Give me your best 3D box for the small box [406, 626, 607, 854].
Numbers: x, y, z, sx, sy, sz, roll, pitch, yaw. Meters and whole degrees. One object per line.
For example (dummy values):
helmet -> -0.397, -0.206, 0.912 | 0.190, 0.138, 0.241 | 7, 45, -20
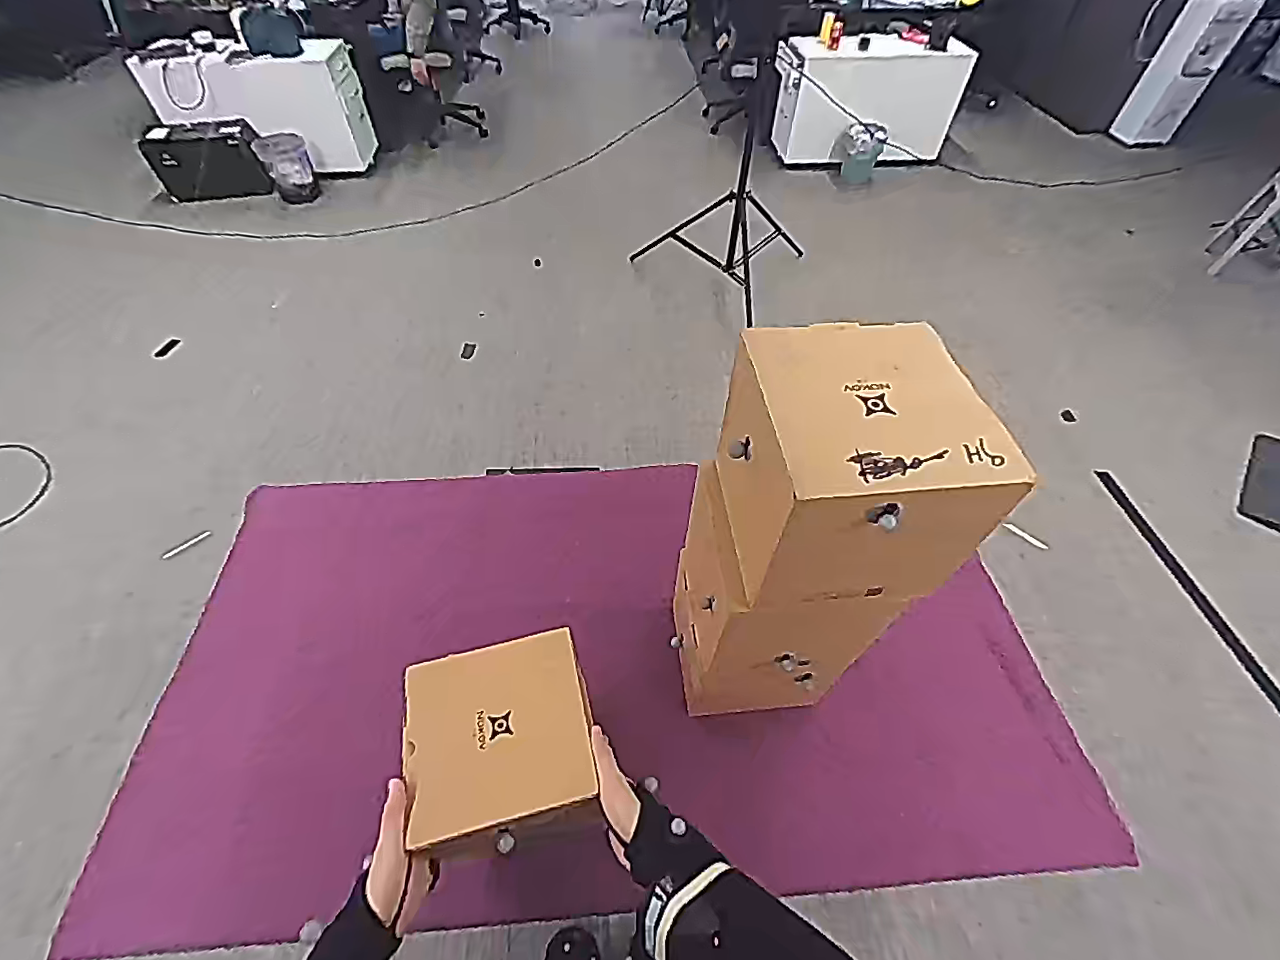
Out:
small box -> -0.136, 0.284, 0.587 | 0.179, 0.176, 0.168 | -13, 53, -7

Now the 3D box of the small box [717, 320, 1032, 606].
small box -> 0.167, -0.013, 0.461 | 0.168, 0.176, 0.179 | -4, 51, -4

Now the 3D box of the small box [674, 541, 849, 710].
small box -> 0.145, 0.193, 0.717 | 0.179, 0.176, 0.168 | -5, 51, -3
